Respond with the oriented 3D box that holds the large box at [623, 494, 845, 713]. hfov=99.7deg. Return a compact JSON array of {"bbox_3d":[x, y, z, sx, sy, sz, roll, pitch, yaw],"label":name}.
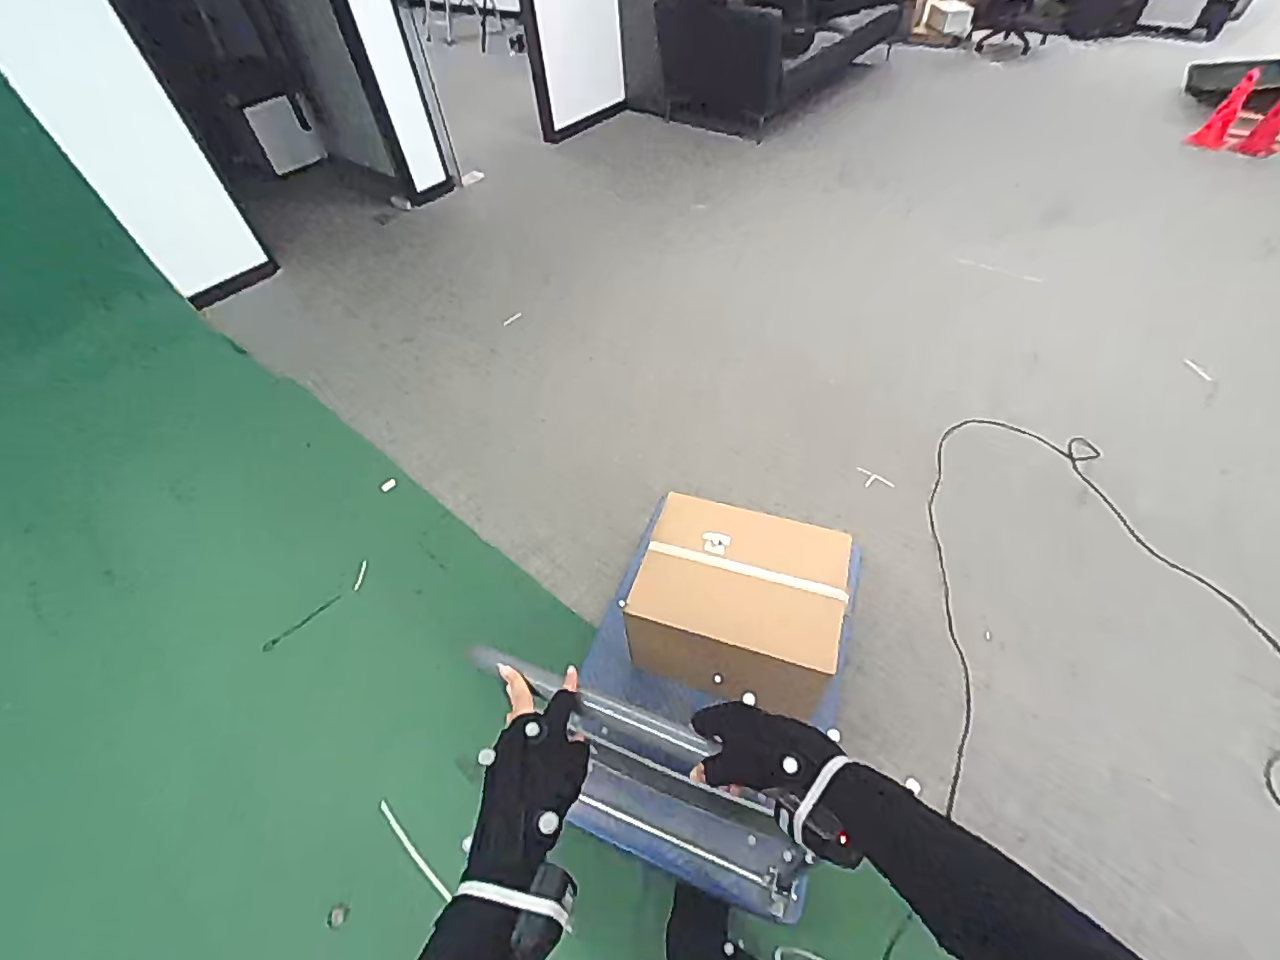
[{"bbox_3d":[0.212,0.277,1.214,0.408,0.320,0.320,12,52,15],"label":"large box"}]
